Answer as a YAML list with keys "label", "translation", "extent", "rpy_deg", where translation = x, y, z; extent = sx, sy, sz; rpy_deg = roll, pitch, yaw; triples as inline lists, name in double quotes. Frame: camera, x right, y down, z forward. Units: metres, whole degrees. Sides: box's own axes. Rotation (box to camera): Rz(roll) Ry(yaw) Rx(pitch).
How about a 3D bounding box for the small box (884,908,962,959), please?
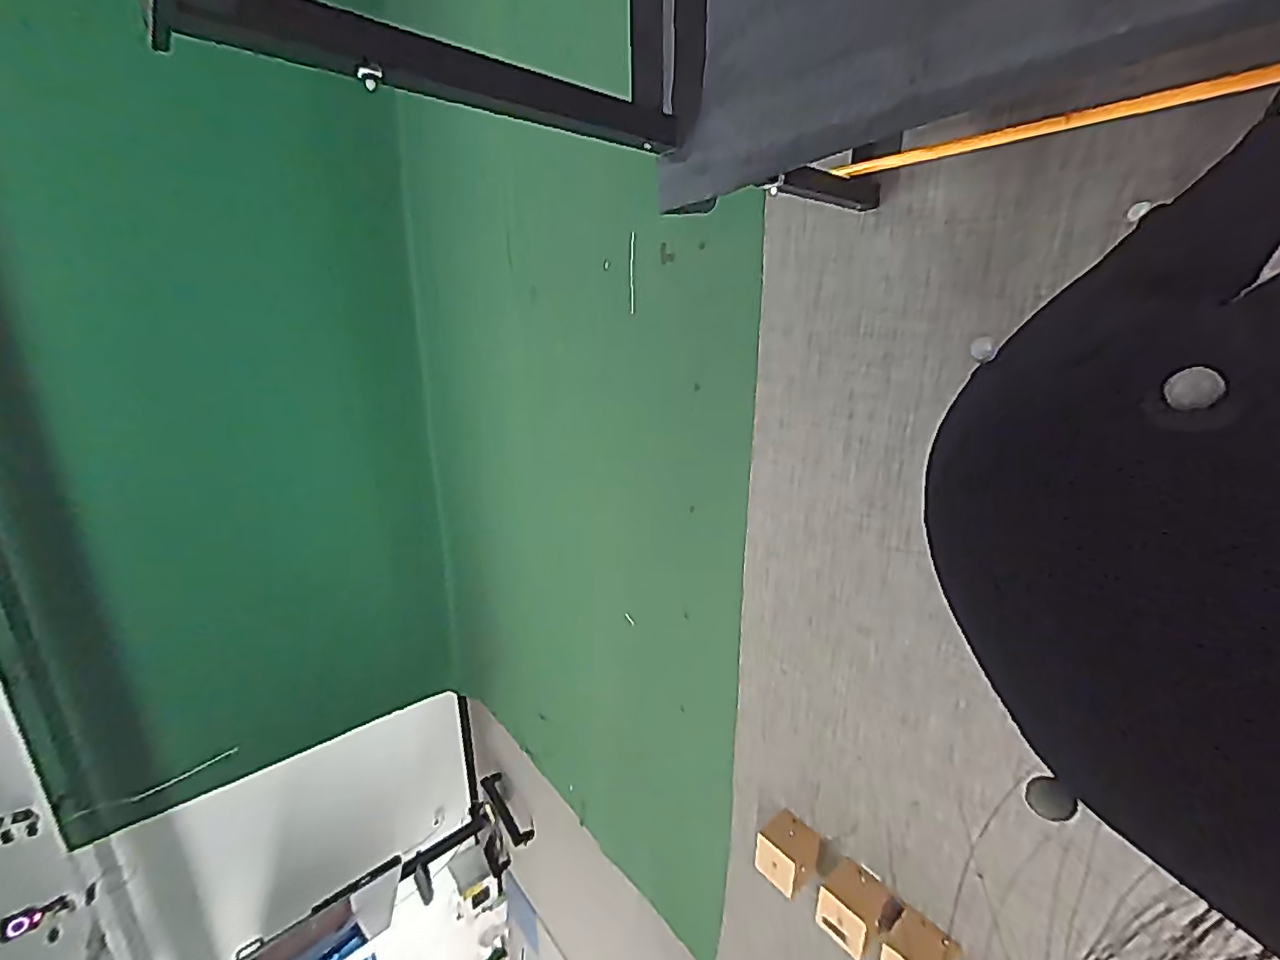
- label: "small box"
  translation: [0.874, 1.495, 1.674]
  extent: [0.168, 0.176, 0.179]
  rpy_deg: [18, 115, 47]

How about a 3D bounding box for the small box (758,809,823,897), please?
- label: "small box"
  translation: [0.567, 1.388, 2.028]
  extent: [0.168, 0.176, 0.179]
  rpy_deg: [20, 116, 48]
